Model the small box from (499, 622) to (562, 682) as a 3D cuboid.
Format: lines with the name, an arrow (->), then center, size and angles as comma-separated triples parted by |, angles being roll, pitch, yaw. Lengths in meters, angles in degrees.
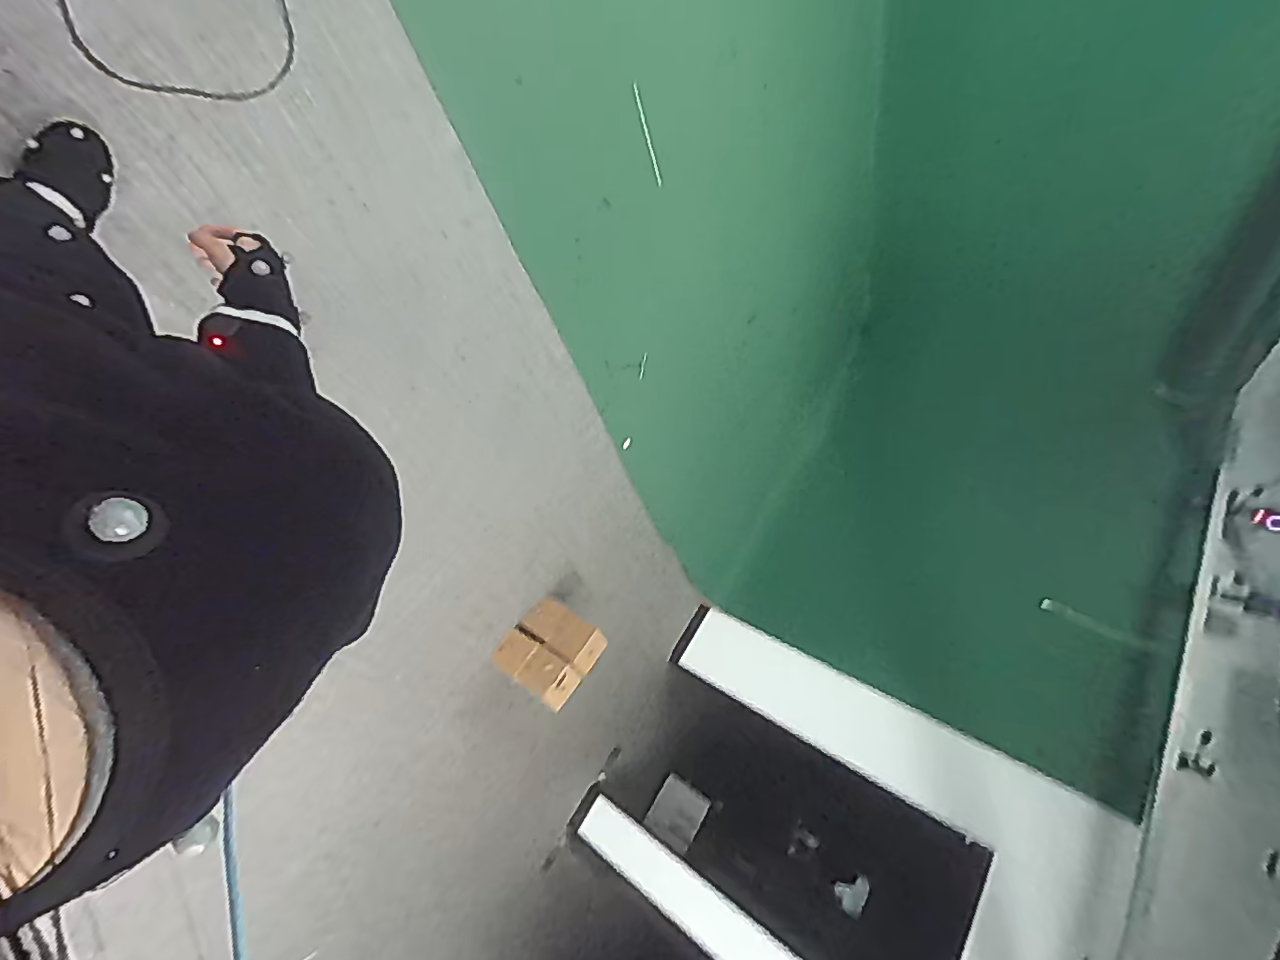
small box -> -0.483, 0.753, 2.377 | 0.168, 0.176, 0.179 | -53, 143, -21
